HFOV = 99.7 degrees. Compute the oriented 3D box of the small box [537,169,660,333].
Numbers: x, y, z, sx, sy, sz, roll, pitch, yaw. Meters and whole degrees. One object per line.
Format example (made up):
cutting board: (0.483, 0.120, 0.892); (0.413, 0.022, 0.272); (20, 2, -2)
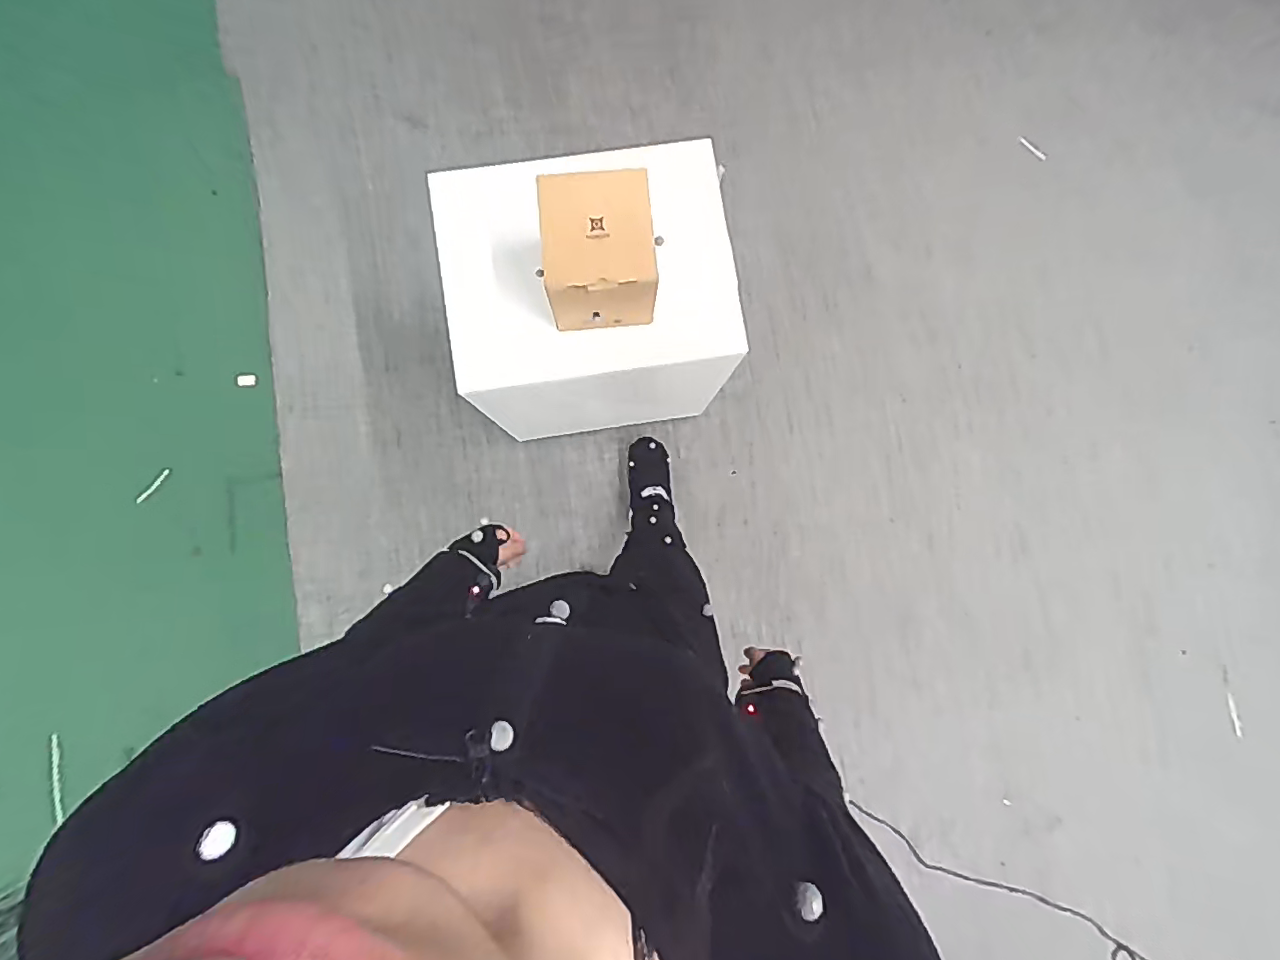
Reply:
small box: (-0.064, -0.349, 0.847); (0.168, 0.176, 0.179); (-6, 85, -3)
